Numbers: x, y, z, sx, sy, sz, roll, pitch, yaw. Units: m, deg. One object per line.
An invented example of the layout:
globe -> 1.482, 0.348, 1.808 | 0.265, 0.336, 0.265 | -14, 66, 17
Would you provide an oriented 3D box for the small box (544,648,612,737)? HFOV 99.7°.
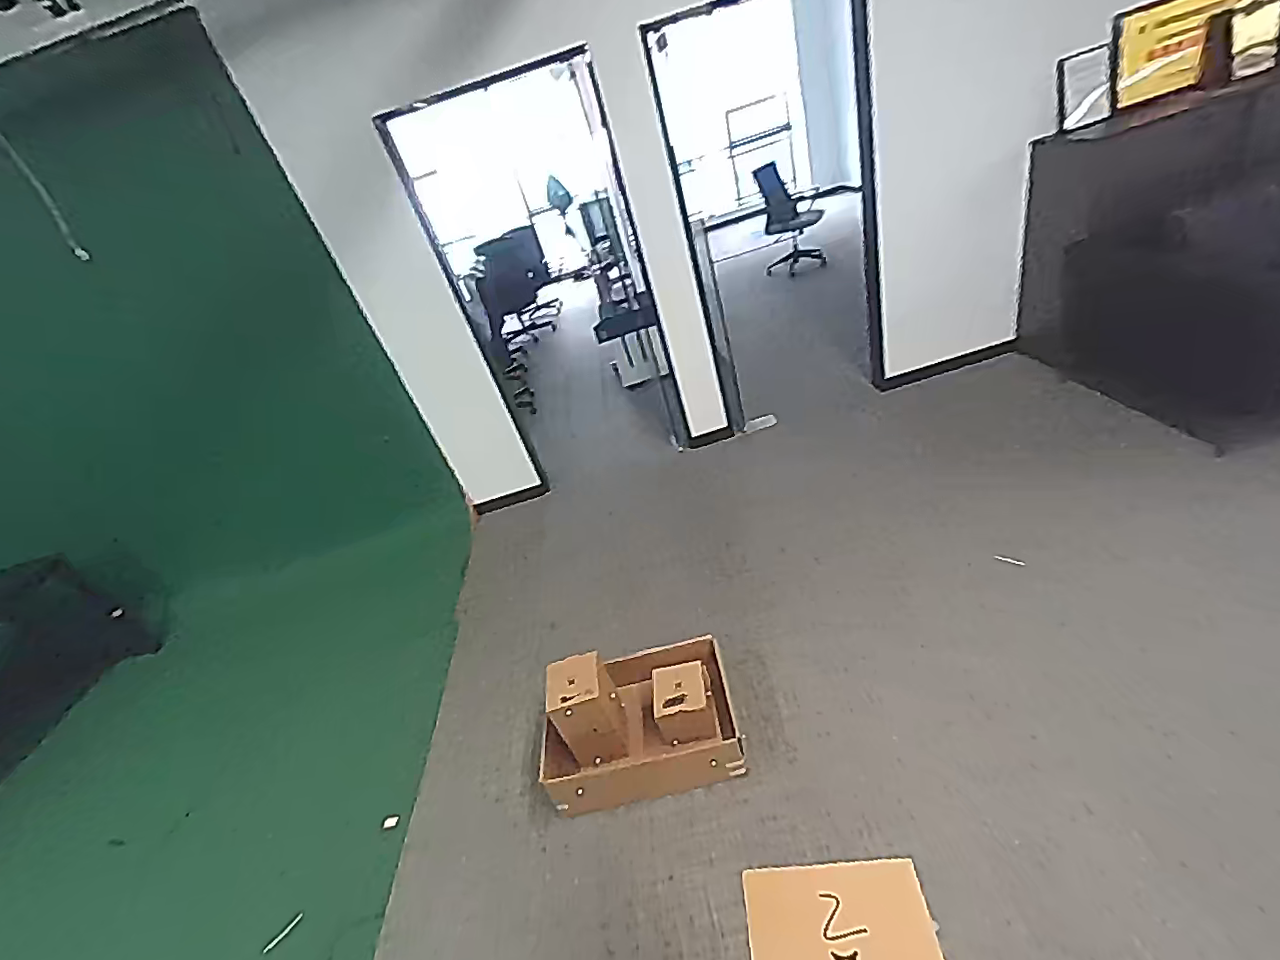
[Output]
small box -> -0.191, 0.663, 1.688 | 0.168, 0.176, 0.179 | -17, 31, 3
